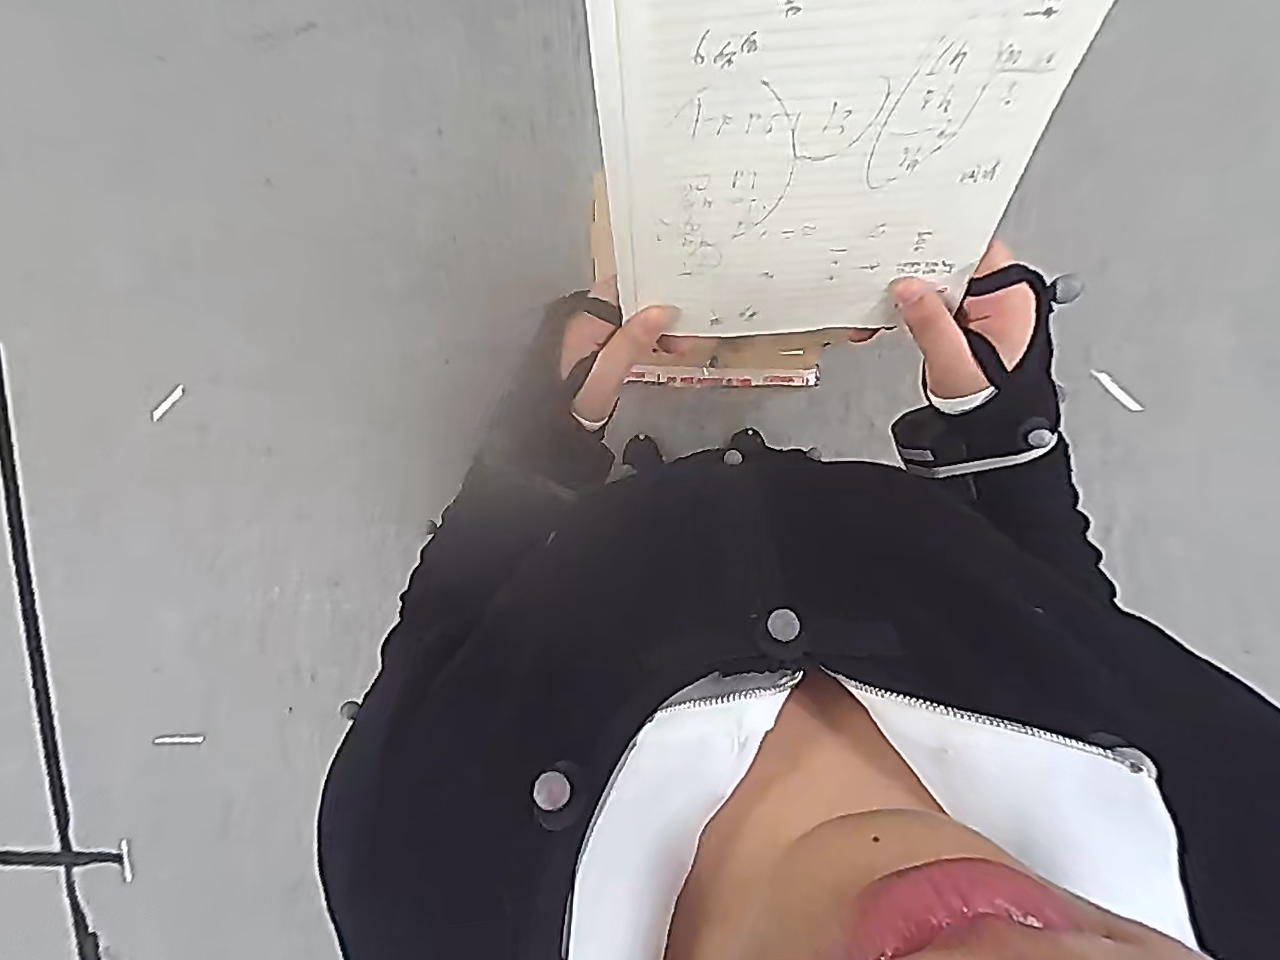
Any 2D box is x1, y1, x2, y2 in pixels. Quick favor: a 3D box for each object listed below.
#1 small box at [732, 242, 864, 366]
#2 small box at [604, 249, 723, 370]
[{"bbox_3d":[0.258,-0.287,0.912,0.179,0.176,0.168,-4,96,2],"label":"small box"},{"bbox_3d":[0.042,-0.280,0.923,0.179,0.176,0.168,5,97,4],"label":"small box"}]
